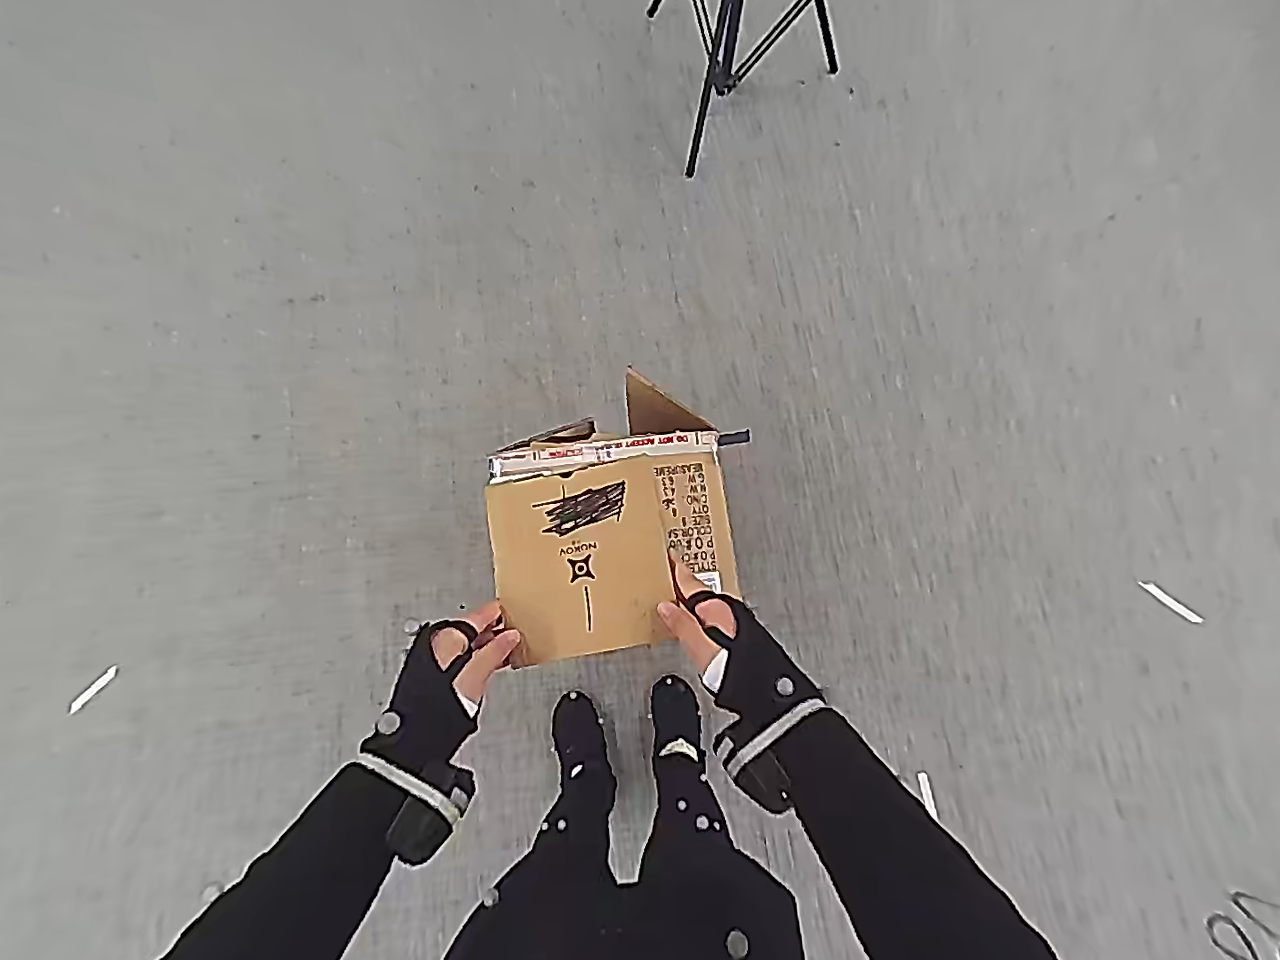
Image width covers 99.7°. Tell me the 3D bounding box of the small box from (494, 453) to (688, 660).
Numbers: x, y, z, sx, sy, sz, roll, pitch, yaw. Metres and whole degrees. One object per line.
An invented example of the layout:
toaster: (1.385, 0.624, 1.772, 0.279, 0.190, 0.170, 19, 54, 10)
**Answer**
small box: (-0.045, 0.083, 0.599, 0.168, 0.176, 0.179, -12, 82, 3)
